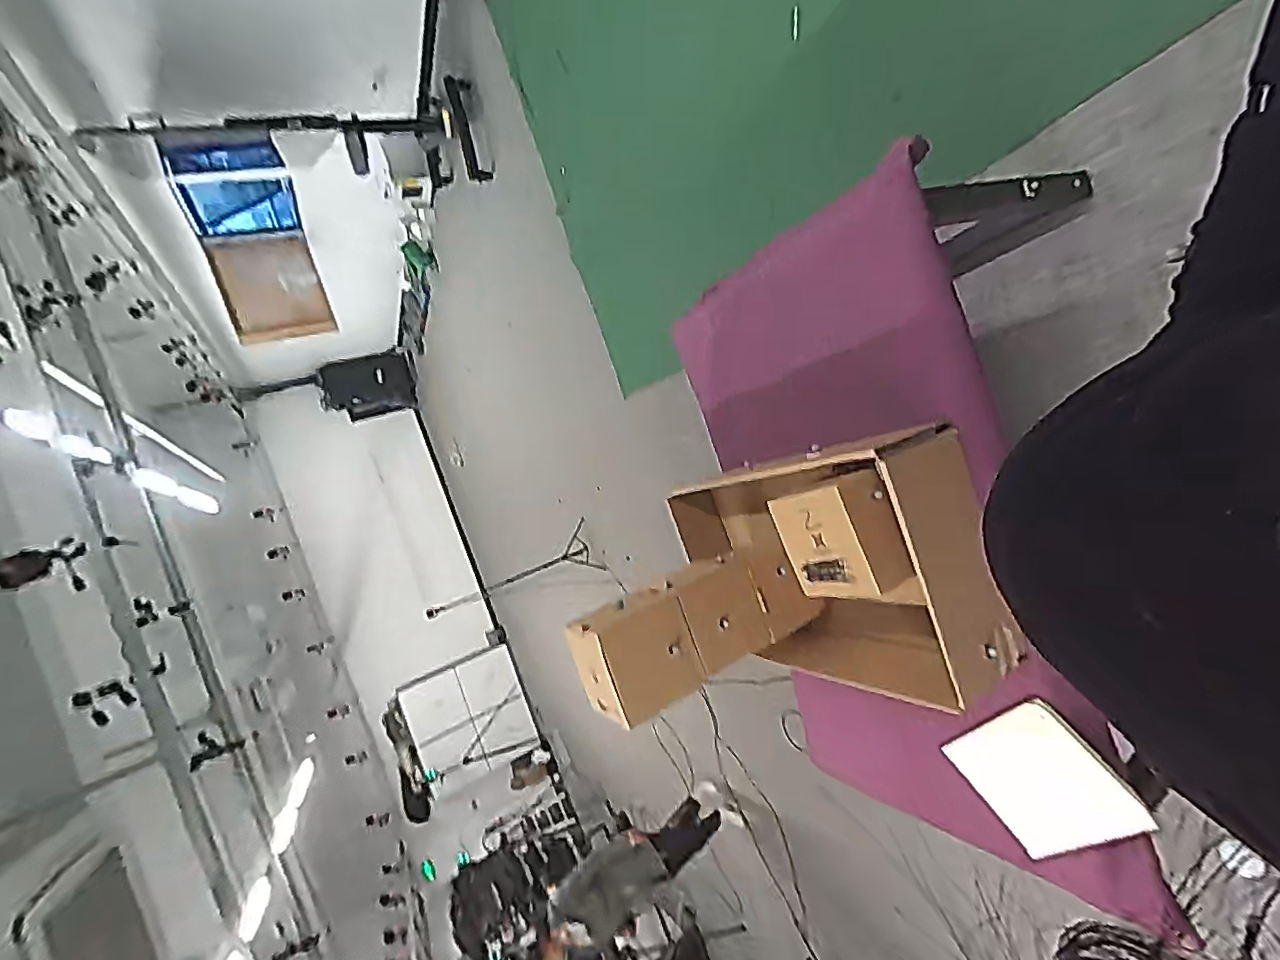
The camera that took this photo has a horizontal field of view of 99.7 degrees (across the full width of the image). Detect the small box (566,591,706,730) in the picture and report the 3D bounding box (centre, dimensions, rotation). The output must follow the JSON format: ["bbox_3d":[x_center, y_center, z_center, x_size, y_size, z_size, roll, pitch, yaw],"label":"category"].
[{"bbox_3d":[-0.008,0.315,0.989,0.168,0.176,0.179,-17,93,62],"label":"small box"}]

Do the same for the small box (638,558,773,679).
[{"bbox_3d":[0.128,0.260,1.065,0.168,0.176,0.179,-22,90,61],"label":"small box"}]
